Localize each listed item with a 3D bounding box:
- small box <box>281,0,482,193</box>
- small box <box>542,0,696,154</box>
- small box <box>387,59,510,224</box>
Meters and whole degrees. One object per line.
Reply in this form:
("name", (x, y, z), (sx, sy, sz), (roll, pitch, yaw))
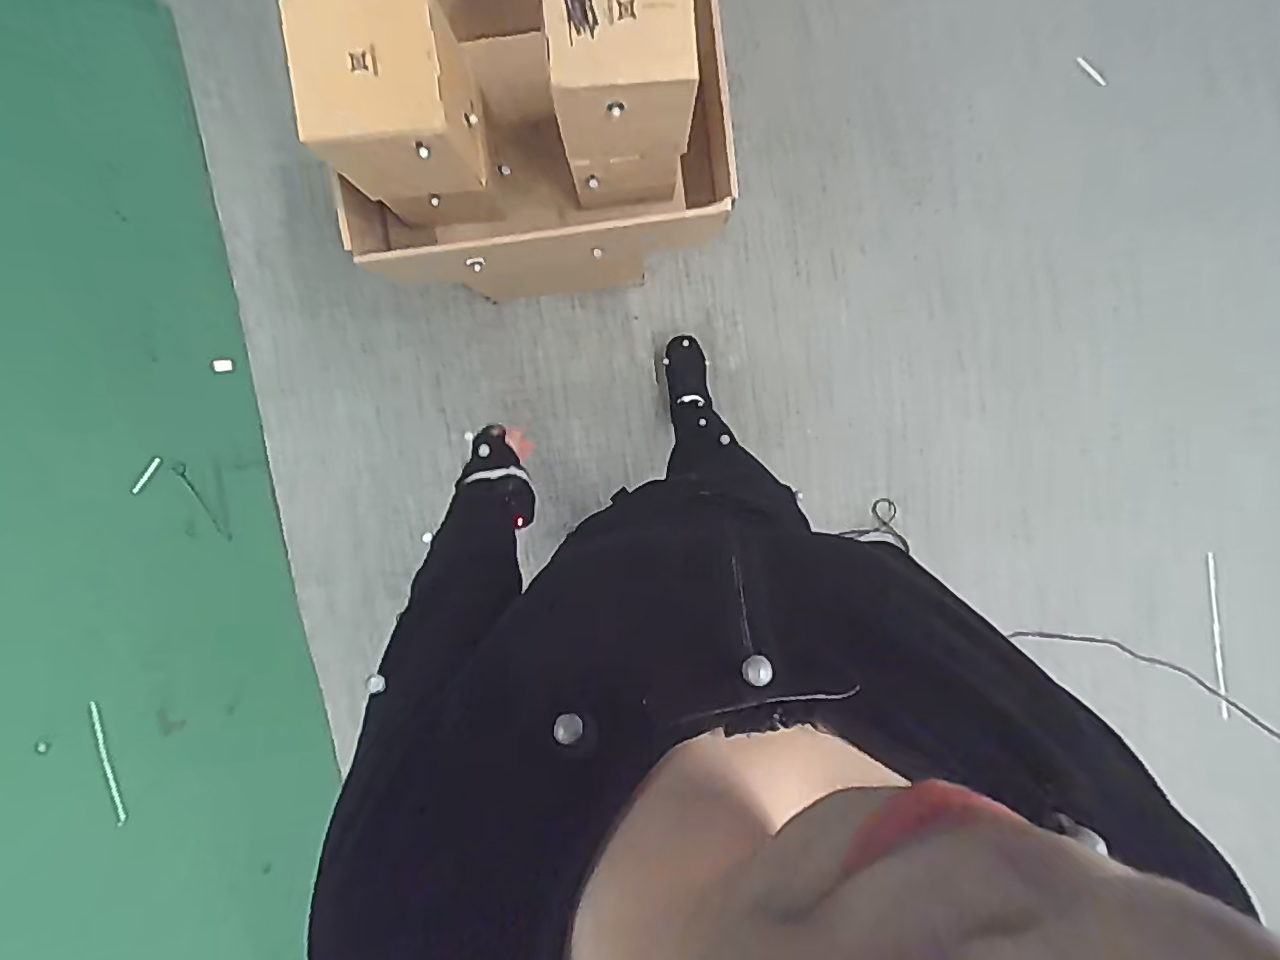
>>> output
("small box", (-0.324, -0.498, 0.710), (0.179, 0.176, 0.168), (-5, 96, 0))
("small box", (-0.025, -0.548, 0.699), (0.179, 0.176, 0.168), (-4, 95, 0))
("small box", (-0.323, -0.529, 0.870), (0.179, 0.176, 0.168), (-6, 96, 0))
